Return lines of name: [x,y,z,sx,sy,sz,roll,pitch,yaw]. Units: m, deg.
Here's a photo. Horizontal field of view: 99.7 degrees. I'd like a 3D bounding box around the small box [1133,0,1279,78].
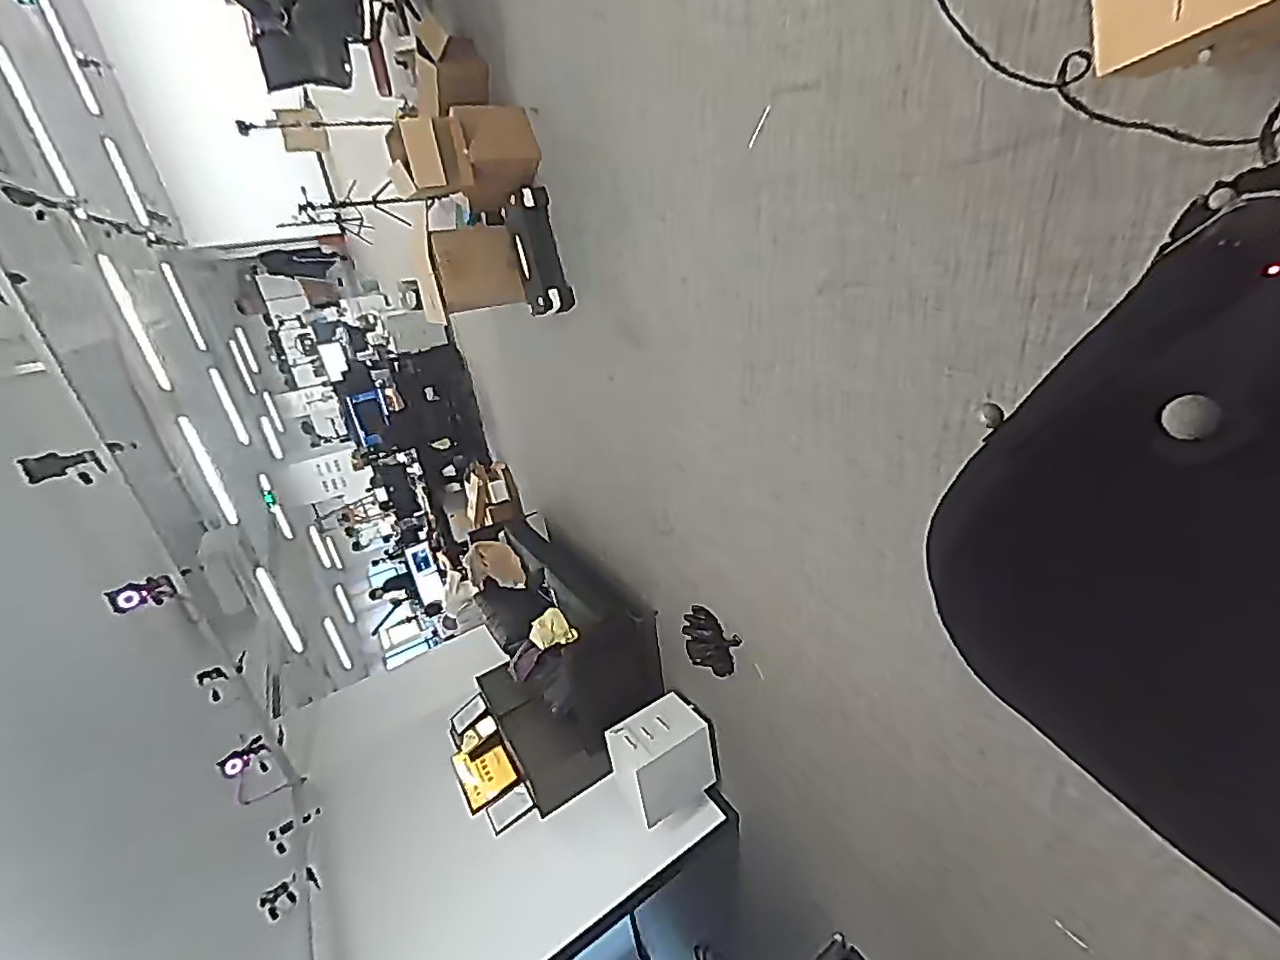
small box: [0.808,-0.685,0.728,0.168,0.176,0.179,6,114,63]
